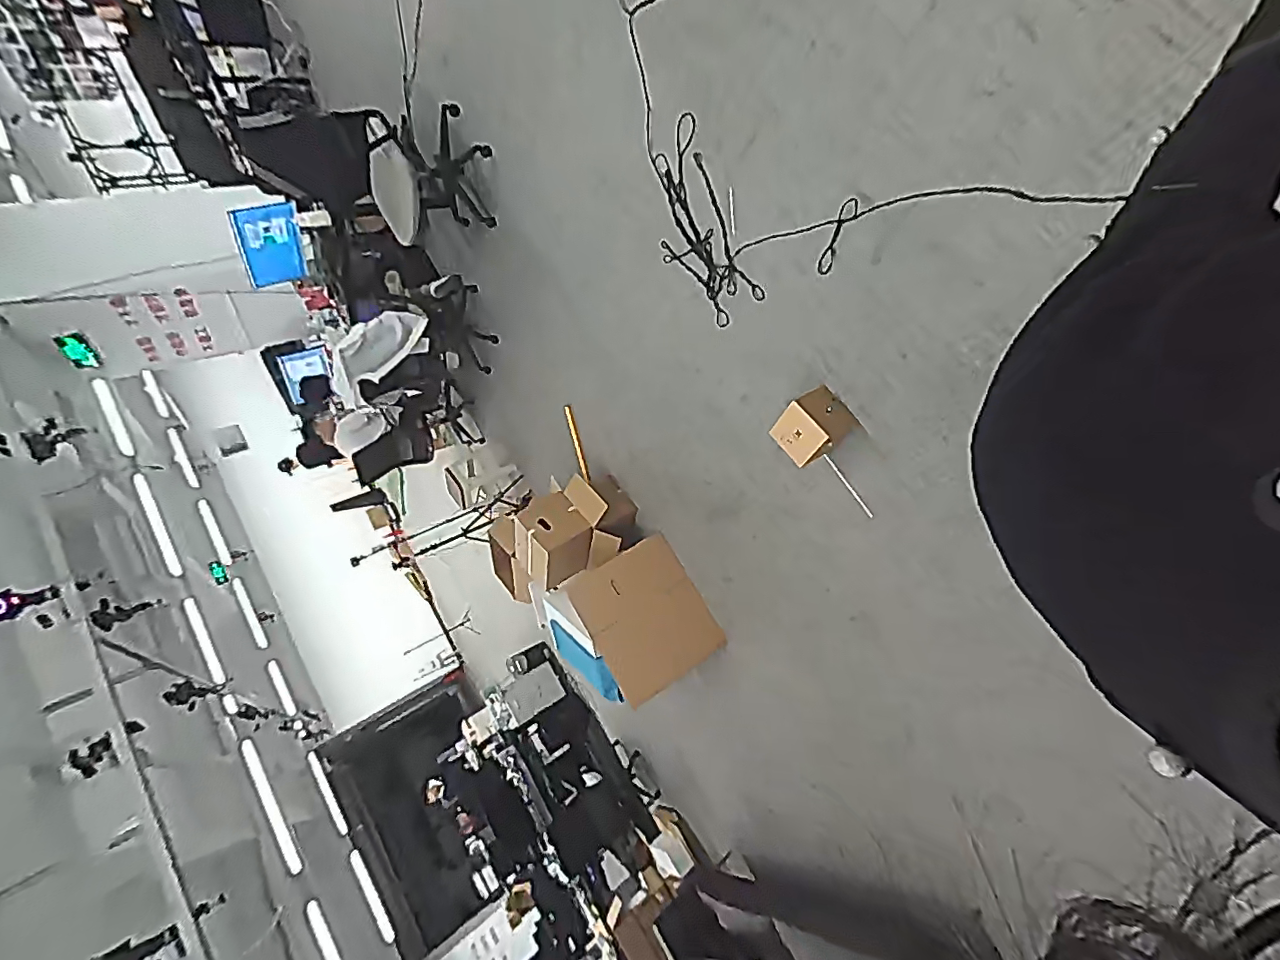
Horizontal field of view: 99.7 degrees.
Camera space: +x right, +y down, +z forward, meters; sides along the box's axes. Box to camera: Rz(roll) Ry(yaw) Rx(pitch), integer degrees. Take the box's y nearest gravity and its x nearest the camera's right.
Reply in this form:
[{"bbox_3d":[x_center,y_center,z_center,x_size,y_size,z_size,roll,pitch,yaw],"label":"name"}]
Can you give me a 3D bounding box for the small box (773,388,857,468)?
[{"bbox_3d":[0.583,-0.176,1.786,0.168,0.176,0.179,53,148,18],"label":"small box"}]
